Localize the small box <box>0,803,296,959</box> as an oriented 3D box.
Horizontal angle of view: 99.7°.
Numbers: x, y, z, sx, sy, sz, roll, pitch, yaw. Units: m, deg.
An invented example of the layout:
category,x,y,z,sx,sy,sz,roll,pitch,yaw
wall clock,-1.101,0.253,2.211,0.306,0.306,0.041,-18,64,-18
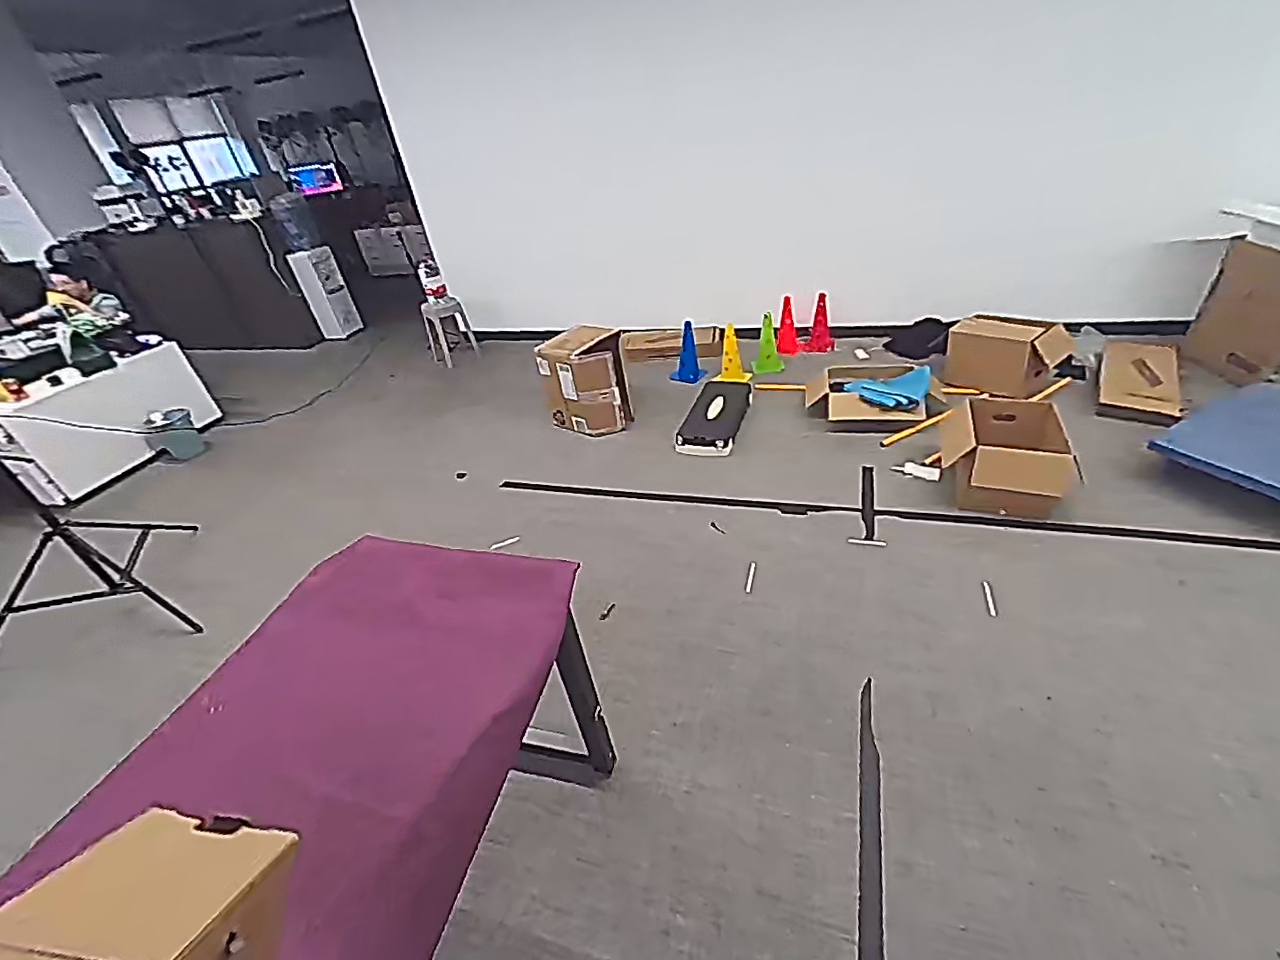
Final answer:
category,x,y,z,sx,sy,sz,roll,pitch,yaw
small box,-0.467,0.450,0.507,0.168,0.176,0.179,12,1,0
